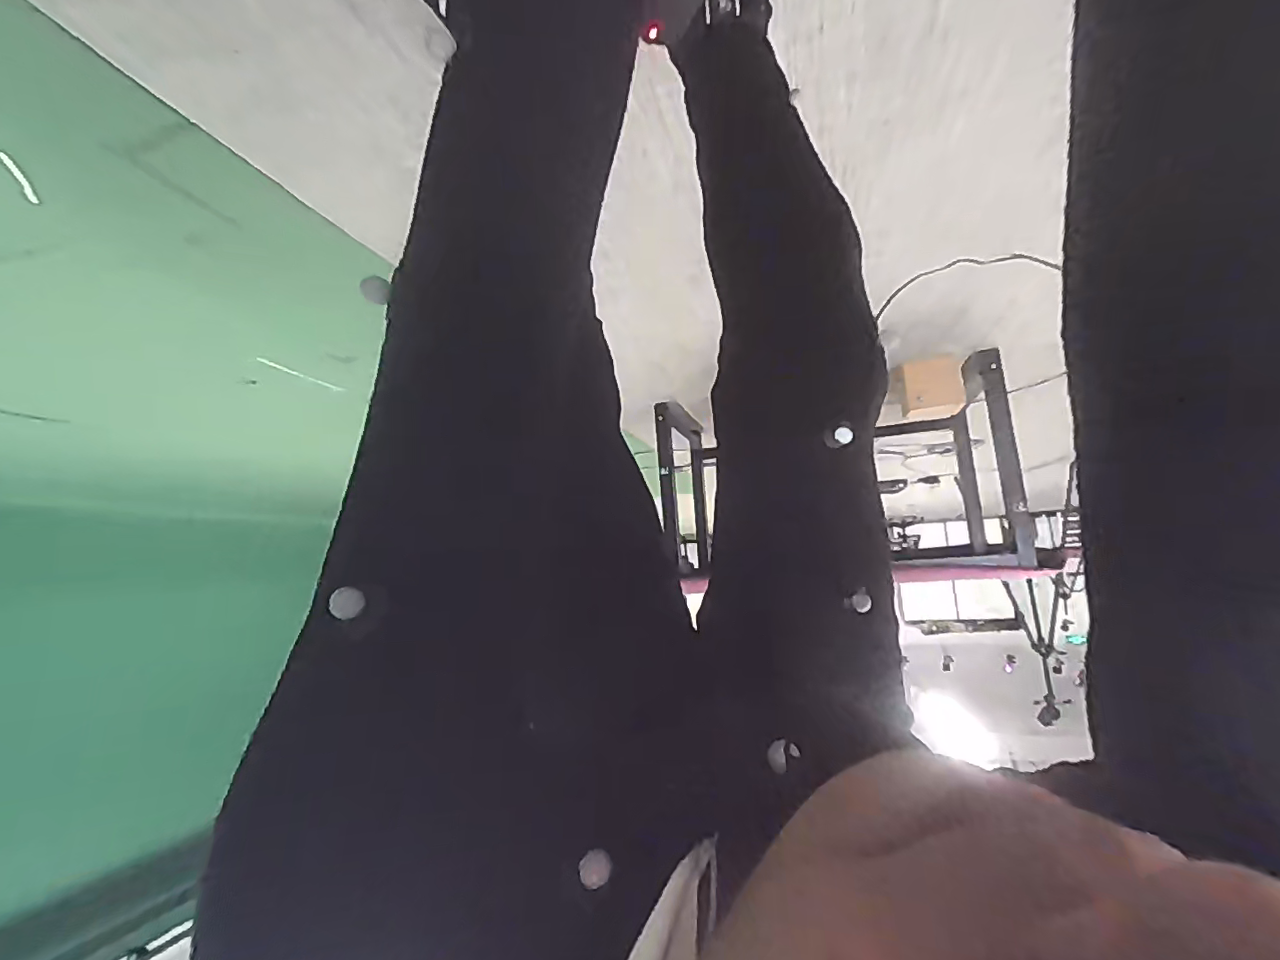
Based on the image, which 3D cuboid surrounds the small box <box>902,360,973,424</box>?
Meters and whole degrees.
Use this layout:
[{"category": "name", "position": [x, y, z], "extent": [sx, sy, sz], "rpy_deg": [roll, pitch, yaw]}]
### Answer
[{"category": "small box", "position": [1.021, -0.304, 1.864], "extent": [0.179, 0.176, 0.168], "rpy_deg": [-6, 169, 19]}]
